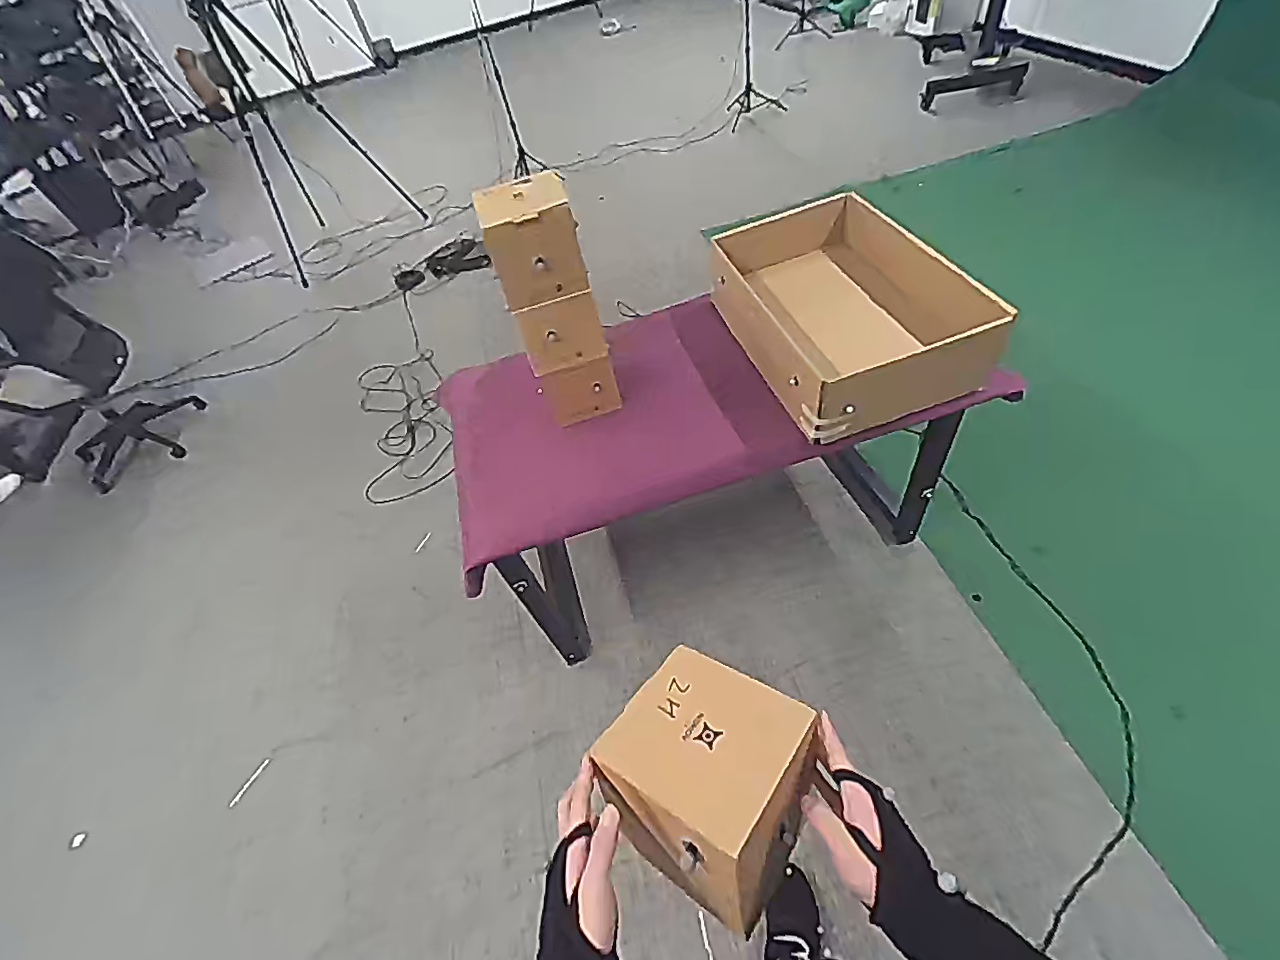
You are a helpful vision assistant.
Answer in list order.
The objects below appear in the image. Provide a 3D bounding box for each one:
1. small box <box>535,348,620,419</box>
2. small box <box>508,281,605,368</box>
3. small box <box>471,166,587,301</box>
[{"bbox_3d":[-0.157,-0.268,1.301,0.168,0.176,0.179,-18,50,-3],"label":"small box"},{"bbox_3d":[-0.184,-0.364,1.174,0.168,0.176,0.179,-18,50,-3],"label":"small box"},{"bbox_3d":[-0.211,-0.469,1.050,0.168,0.176,0.179,-18,51,-4],"label":"small box"}]
